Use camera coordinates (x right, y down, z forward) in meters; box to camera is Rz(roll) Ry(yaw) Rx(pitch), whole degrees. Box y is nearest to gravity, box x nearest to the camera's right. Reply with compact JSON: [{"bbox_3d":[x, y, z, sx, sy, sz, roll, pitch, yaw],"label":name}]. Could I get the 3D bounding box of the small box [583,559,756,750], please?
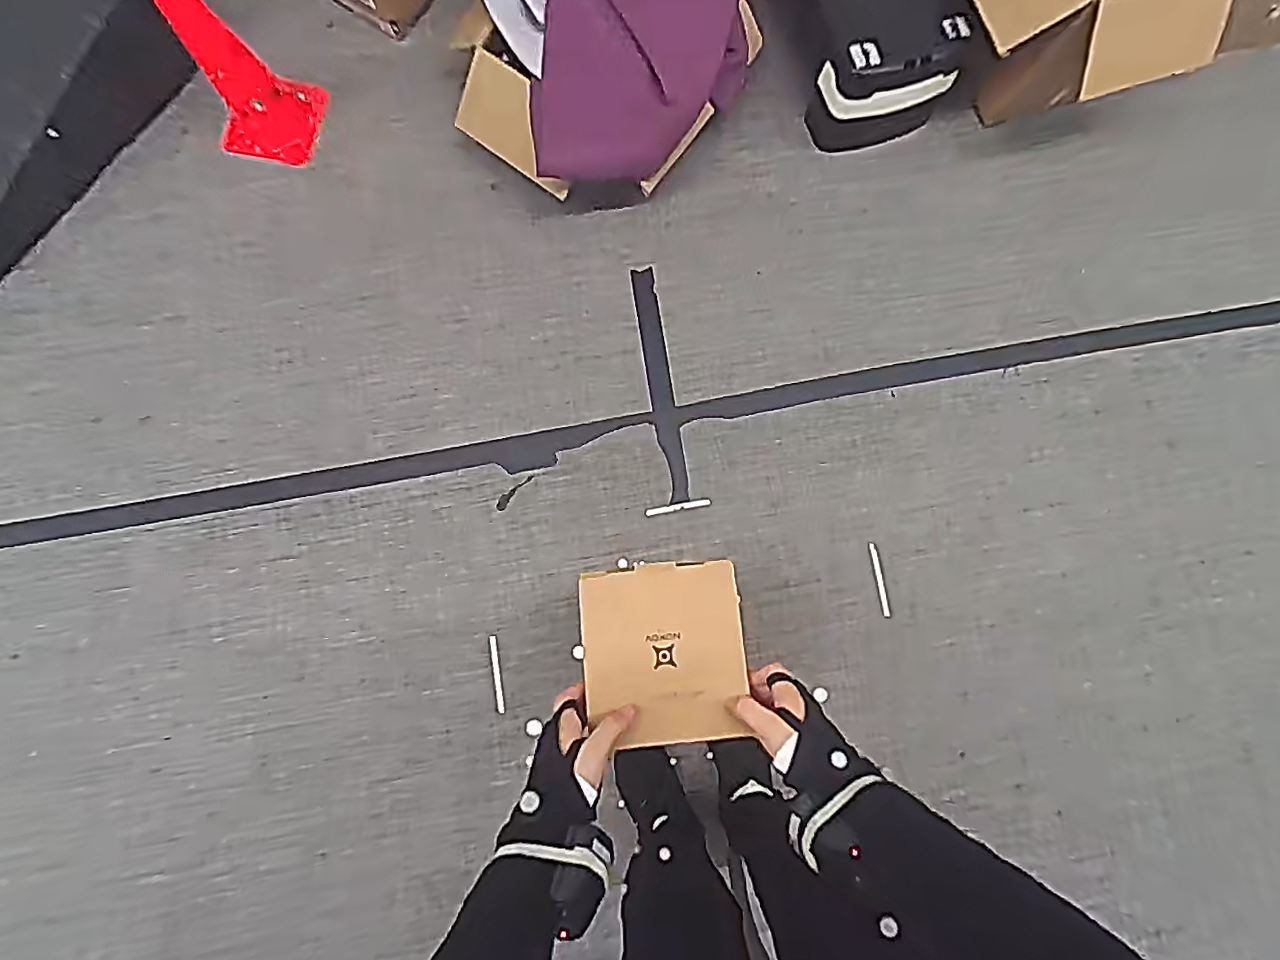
[{"bbox_3d":[0.026,0.191,0.625,0.168,0.176,0.179,-5,78,-1],"label":"small box"}]
